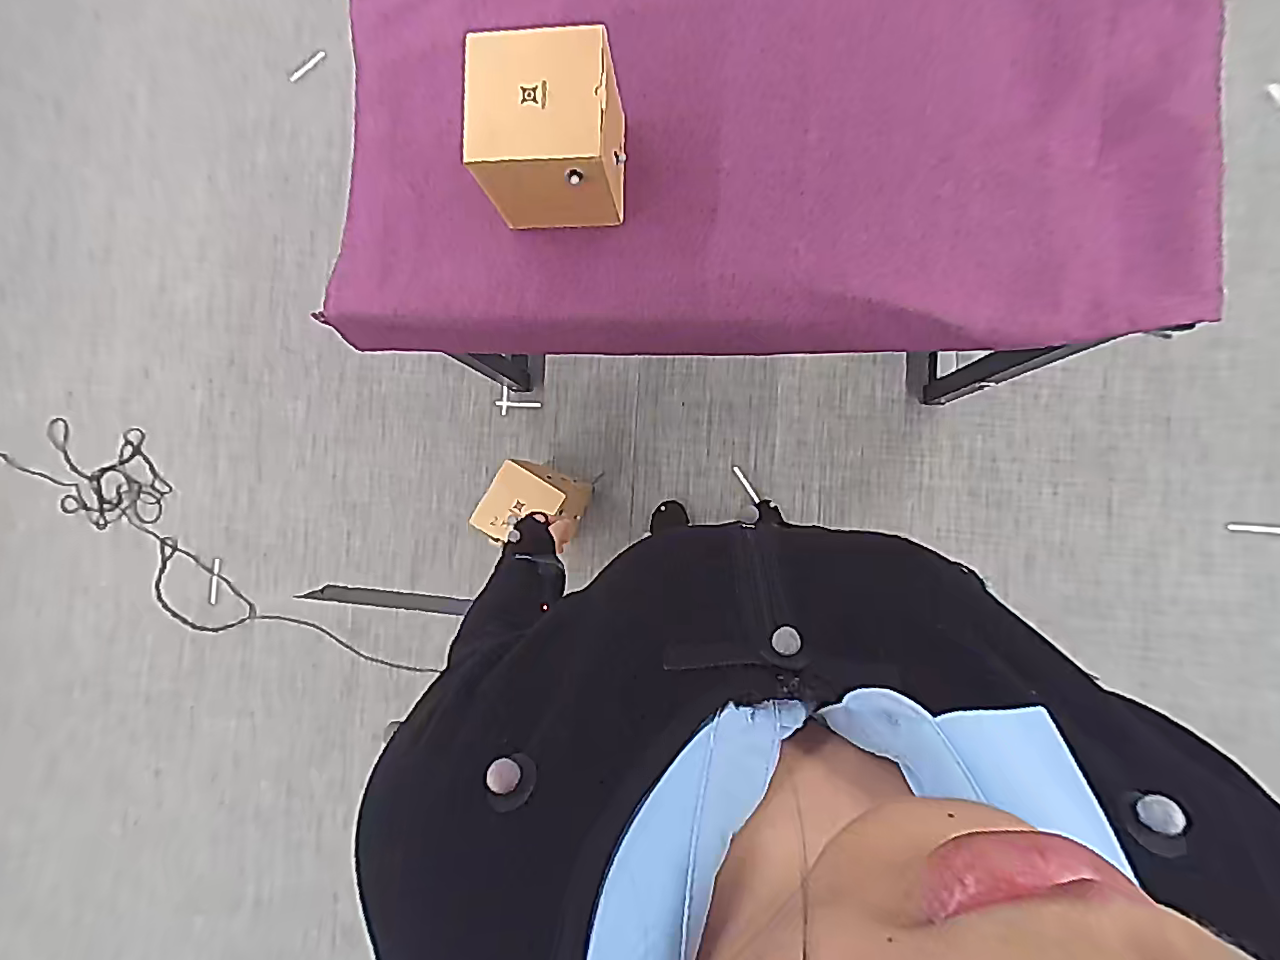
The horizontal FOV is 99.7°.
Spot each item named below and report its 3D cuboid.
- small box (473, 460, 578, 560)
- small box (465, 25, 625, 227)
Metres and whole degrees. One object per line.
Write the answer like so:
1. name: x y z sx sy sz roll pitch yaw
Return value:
1. small box: -0.264 0.068 1.302 0.168 0.176 0.179 31 93 6
2. small box: -0.119 -0.464 0.736 0.179 0.176 0.168 0 88 5
